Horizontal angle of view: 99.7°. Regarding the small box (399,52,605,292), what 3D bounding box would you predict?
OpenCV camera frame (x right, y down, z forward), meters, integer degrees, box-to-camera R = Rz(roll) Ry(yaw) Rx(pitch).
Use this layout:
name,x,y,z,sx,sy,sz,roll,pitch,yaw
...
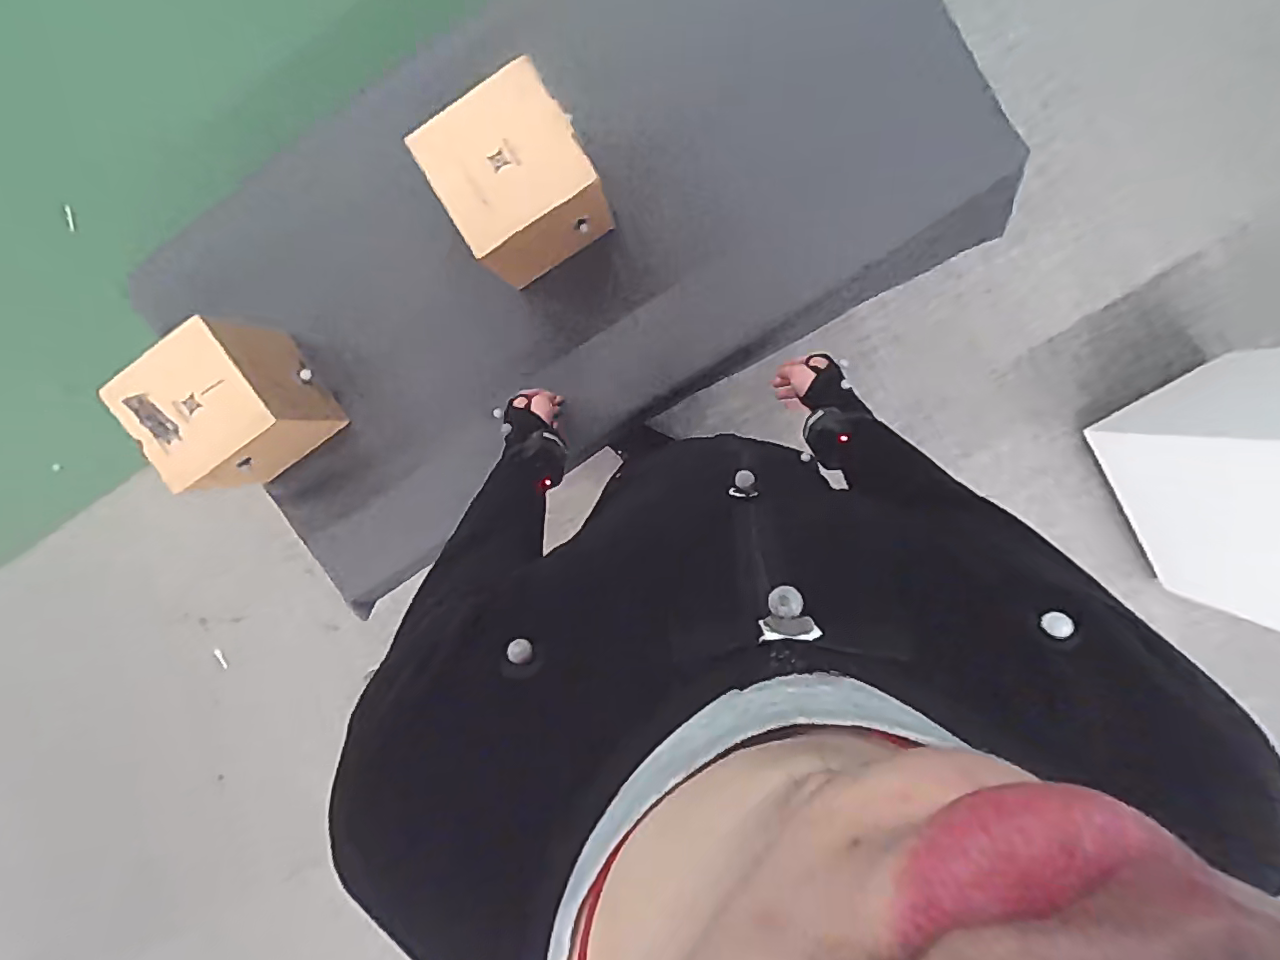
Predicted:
name,x,y,z,sx,sy,sz,roll,pitch,yaw
small box,-0.156,-0.369,0.687,0.179,0.176,0.168,-33,94,5

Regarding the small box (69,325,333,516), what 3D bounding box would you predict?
name,x,y,z,sx,sy,sz,roll,pitch,yaw
small box,-0.564,-0.076,0.722,0.179,0.176,0.168,-36,95,3
